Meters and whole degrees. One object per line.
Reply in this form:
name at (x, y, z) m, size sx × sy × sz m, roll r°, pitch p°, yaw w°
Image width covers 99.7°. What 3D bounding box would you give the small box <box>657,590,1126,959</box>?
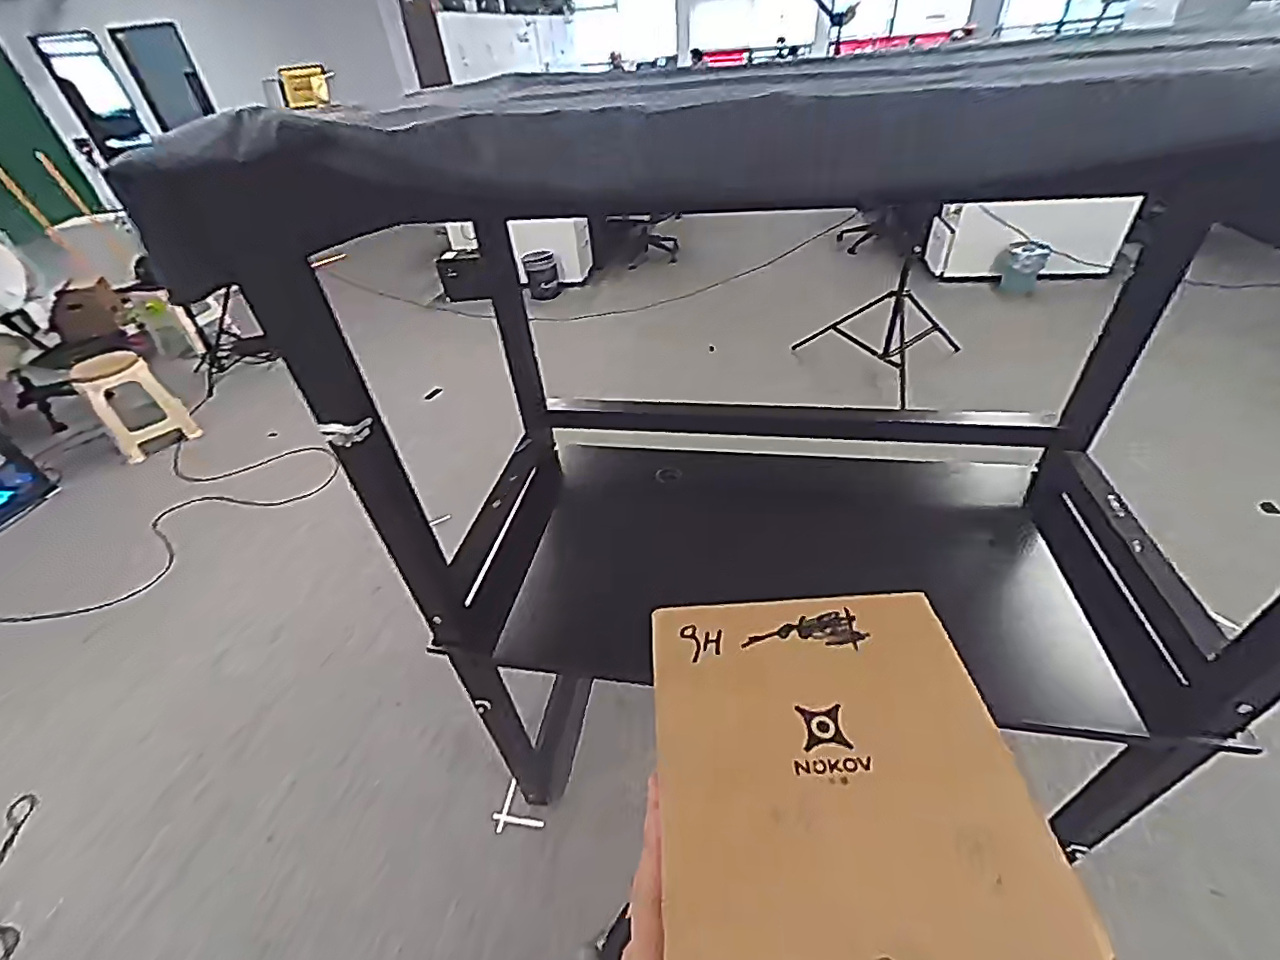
small box at (0.097, 0.186, 0.307) m, size 0.168 × 0.176 × 0.179 m, roll -3°, pitch 40°, yaw 1°
